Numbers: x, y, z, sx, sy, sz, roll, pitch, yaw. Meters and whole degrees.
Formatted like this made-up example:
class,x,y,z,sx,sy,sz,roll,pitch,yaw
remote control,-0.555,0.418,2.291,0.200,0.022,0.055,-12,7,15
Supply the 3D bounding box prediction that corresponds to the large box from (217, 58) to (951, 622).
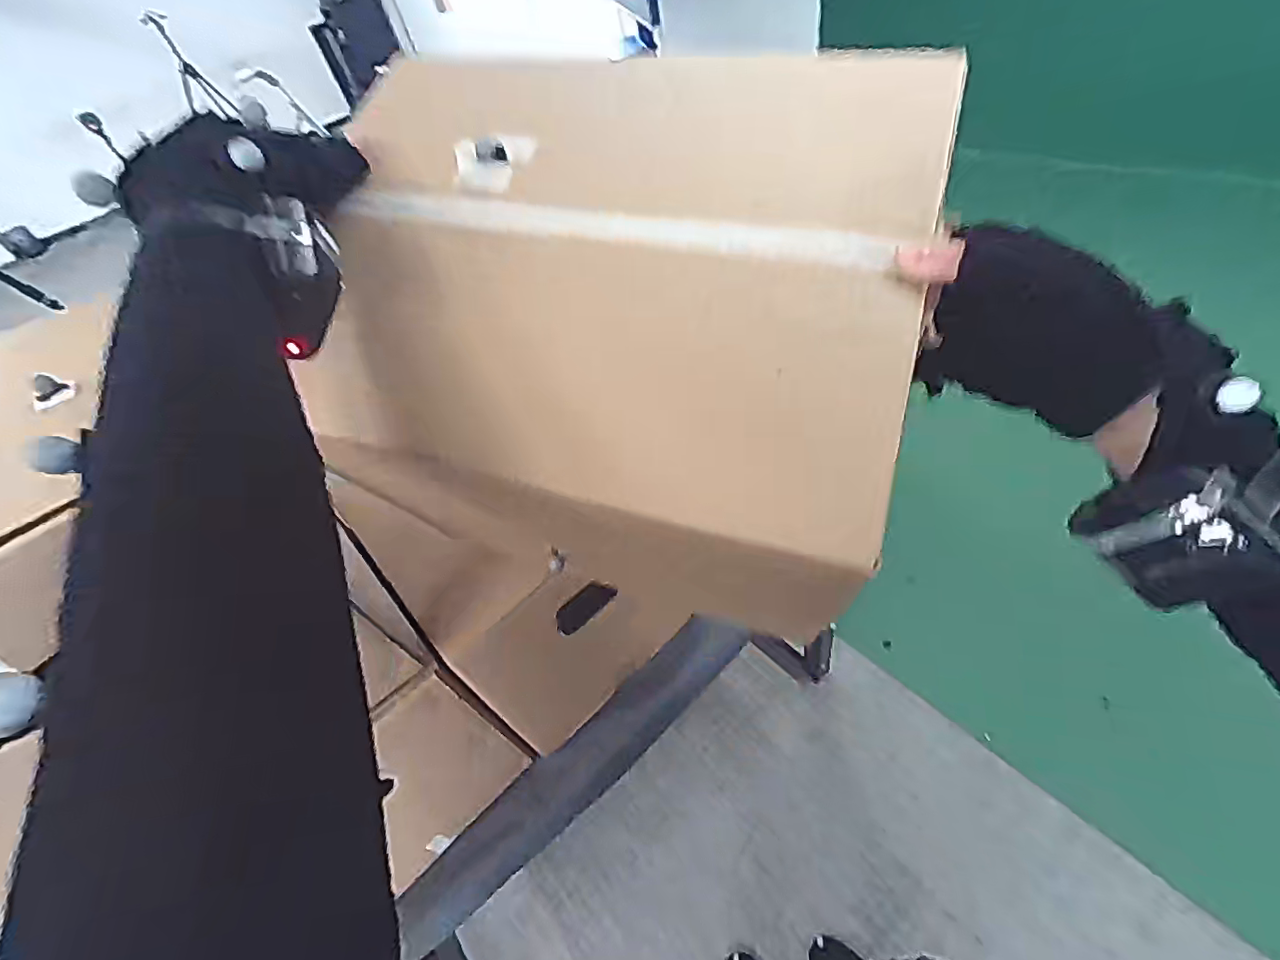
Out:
class,x,y,z,sx,sy,sz,roll,pitch,yaw
large box,-0.011,-0.093,0.465,0.408,0.320,0.320,13,72,18
